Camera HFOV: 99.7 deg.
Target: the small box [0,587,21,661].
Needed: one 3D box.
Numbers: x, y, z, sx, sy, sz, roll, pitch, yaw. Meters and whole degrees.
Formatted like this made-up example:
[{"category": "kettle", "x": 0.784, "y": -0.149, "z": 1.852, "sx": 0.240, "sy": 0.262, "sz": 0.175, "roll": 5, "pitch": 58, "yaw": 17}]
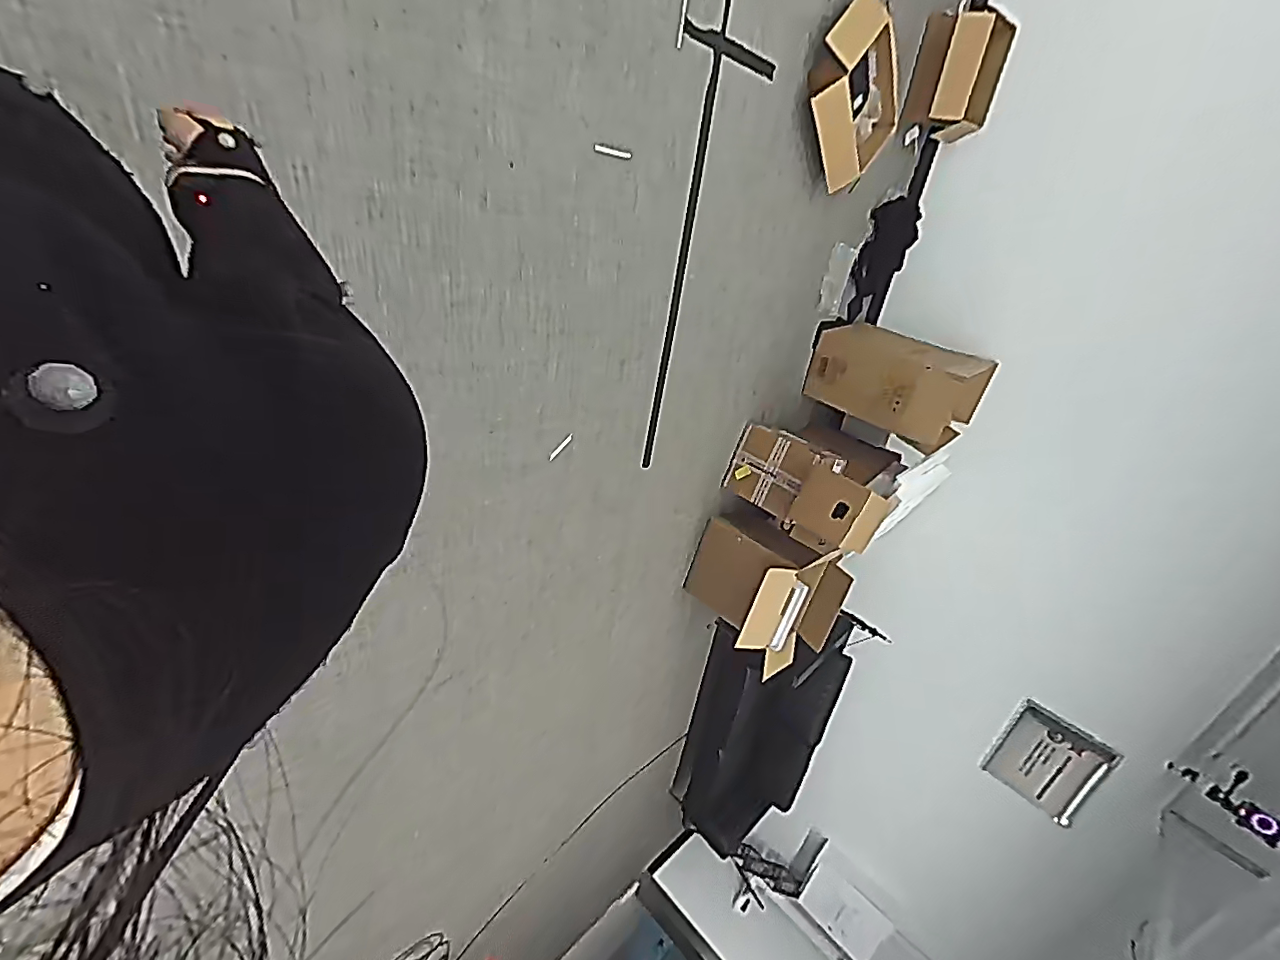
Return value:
[{"category": "small box", "x": -1.316, "y": 0.261, "z": 1.005, "sx": 0.168, "sy": 0.176, "sz": 0.179, "roll": -29, "pitch": 134, "yaw": -37}]
